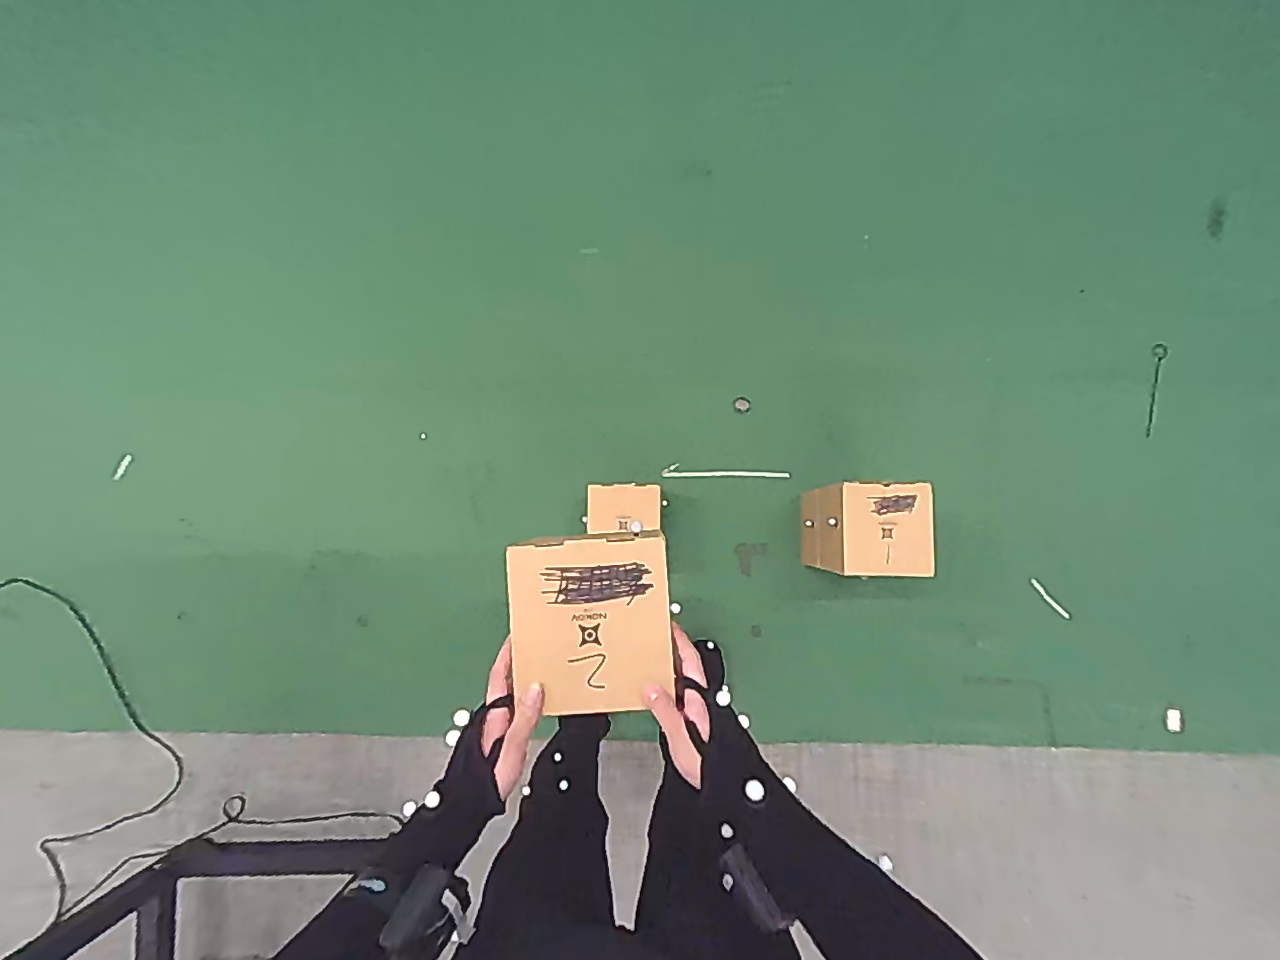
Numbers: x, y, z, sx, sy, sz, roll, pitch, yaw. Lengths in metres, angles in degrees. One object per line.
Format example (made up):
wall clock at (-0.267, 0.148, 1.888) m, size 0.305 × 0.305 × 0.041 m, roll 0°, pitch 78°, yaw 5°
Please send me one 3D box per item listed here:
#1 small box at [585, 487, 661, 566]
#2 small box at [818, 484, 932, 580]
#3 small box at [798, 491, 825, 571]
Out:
small box at (-0.034, 0.110, 1.278) m, size 0.168 × 0.176 × 0.179 m, roll 0°, pitch 84°, yaw 3°
small box at (0.462, 0.105, 1.086) m, size 0.168 × 0.176 × 0.179 m, roll 1°, pitch 85°, yaw 3°
small box at (0.467, 0.120, 1.250) m, size 0.168 × 0.176 × 0.179 m, roll 2°, pitch 85°, yaw 3°
